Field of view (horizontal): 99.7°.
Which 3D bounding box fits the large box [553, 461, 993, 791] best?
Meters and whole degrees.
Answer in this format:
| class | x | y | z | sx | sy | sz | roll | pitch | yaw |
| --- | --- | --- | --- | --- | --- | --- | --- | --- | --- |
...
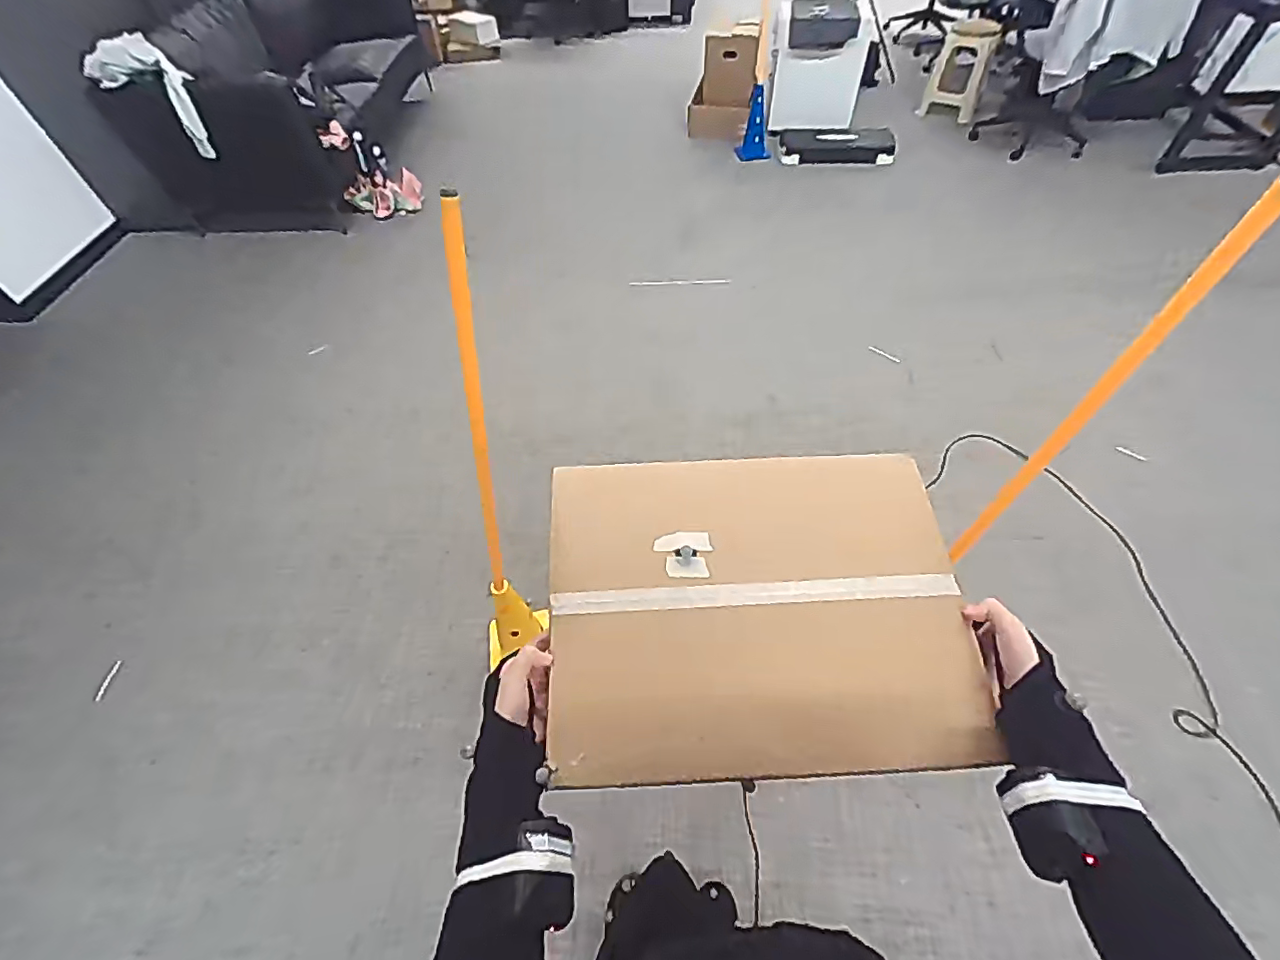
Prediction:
| class | x | y | z | sx | sy | sz | roll | pitch | yaw |
| --- | --- | --- | --- | --- | --- | --- | --- | --- | --- |
| large box | 0.115 | 0.194 | 0.679 | 0.408 | 0.320 | 0.320 | -3 | 61 | -1 |
